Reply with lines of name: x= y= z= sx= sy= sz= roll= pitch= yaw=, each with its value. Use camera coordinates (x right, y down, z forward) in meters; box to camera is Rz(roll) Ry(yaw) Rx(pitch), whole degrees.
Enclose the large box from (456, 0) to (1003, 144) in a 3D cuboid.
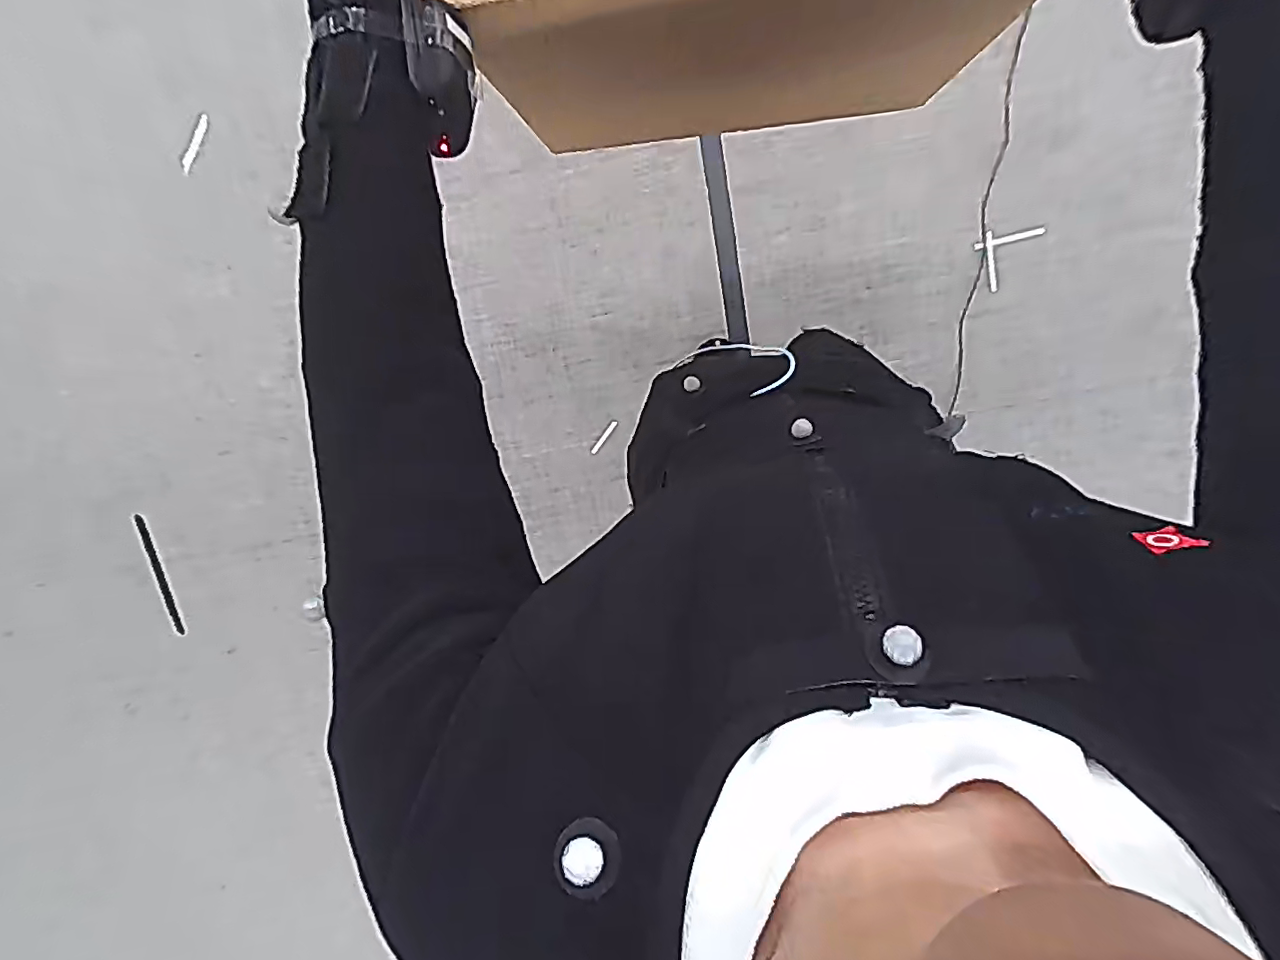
large box: x=0.070 y=-0.498 z=0.411 sx=0.408 sy=0.320 sz=0.320 roll=-4 pitch=107 yaw=6
